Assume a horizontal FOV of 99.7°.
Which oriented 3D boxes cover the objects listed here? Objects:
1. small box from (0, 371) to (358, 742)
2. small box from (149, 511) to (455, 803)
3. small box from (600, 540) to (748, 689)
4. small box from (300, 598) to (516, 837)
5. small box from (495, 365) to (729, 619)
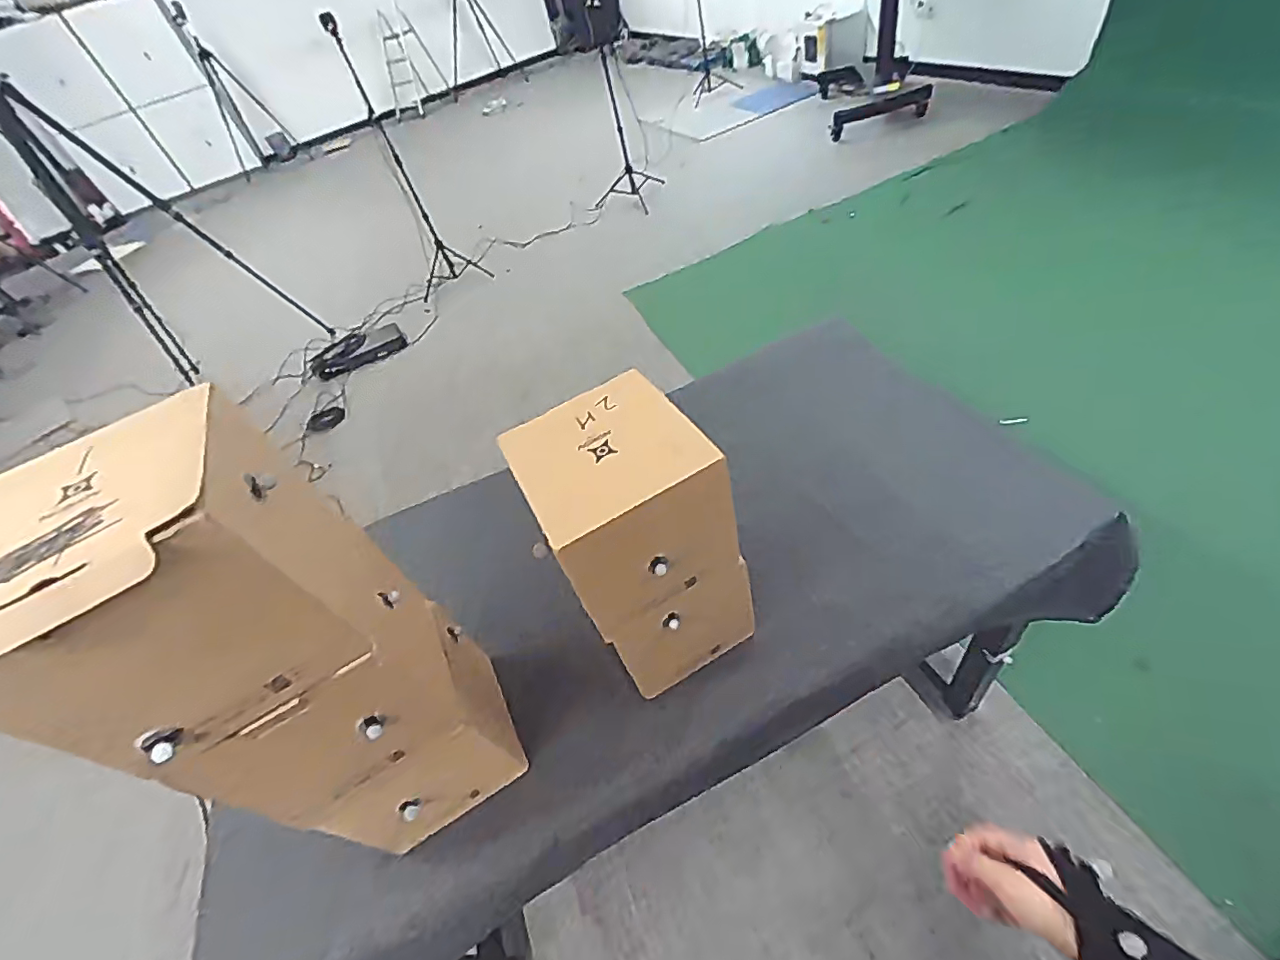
[{"bbox_3d":[-0.332,0.058,0.389,0.168,0.176,0.179,-30,46,-14],"label":"small box"},{"bbox_3d":[-0.297,0.169,0.506,0.168,0.176,0.179,-29,46,-13],"label":"small box"},{"bbox_3d":[0.018,0.124,0.681,0.168,0.176,0.179,-29,46,-10],"label":"small box"},{"bbox_3d":[-0.264,0.278,0.624,0.168,0.176,0.179,-28,47,-12],"label":"small box"},{"bbox_3d":[-0.022,0.018,0.559,0.168,0.176,0.179,-28,47,-11],"label":"small box"}]
